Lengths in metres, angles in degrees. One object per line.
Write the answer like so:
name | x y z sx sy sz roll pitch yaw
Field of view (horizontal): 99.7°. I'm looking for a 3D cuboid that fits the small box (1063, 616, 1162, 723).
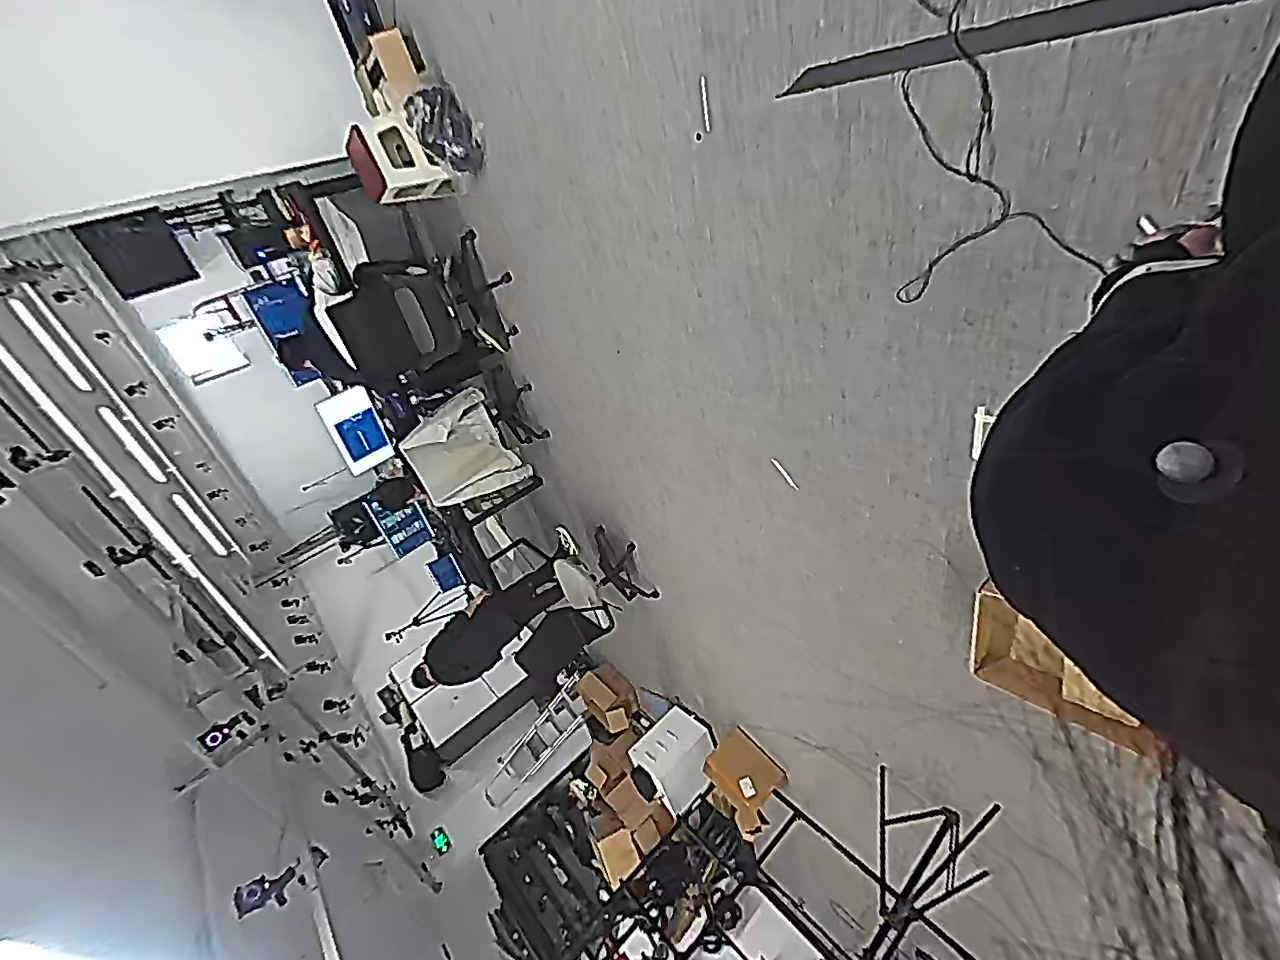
small box | 1.279 0.505 1.464 0.168 0.176 0.179 15 131 50
